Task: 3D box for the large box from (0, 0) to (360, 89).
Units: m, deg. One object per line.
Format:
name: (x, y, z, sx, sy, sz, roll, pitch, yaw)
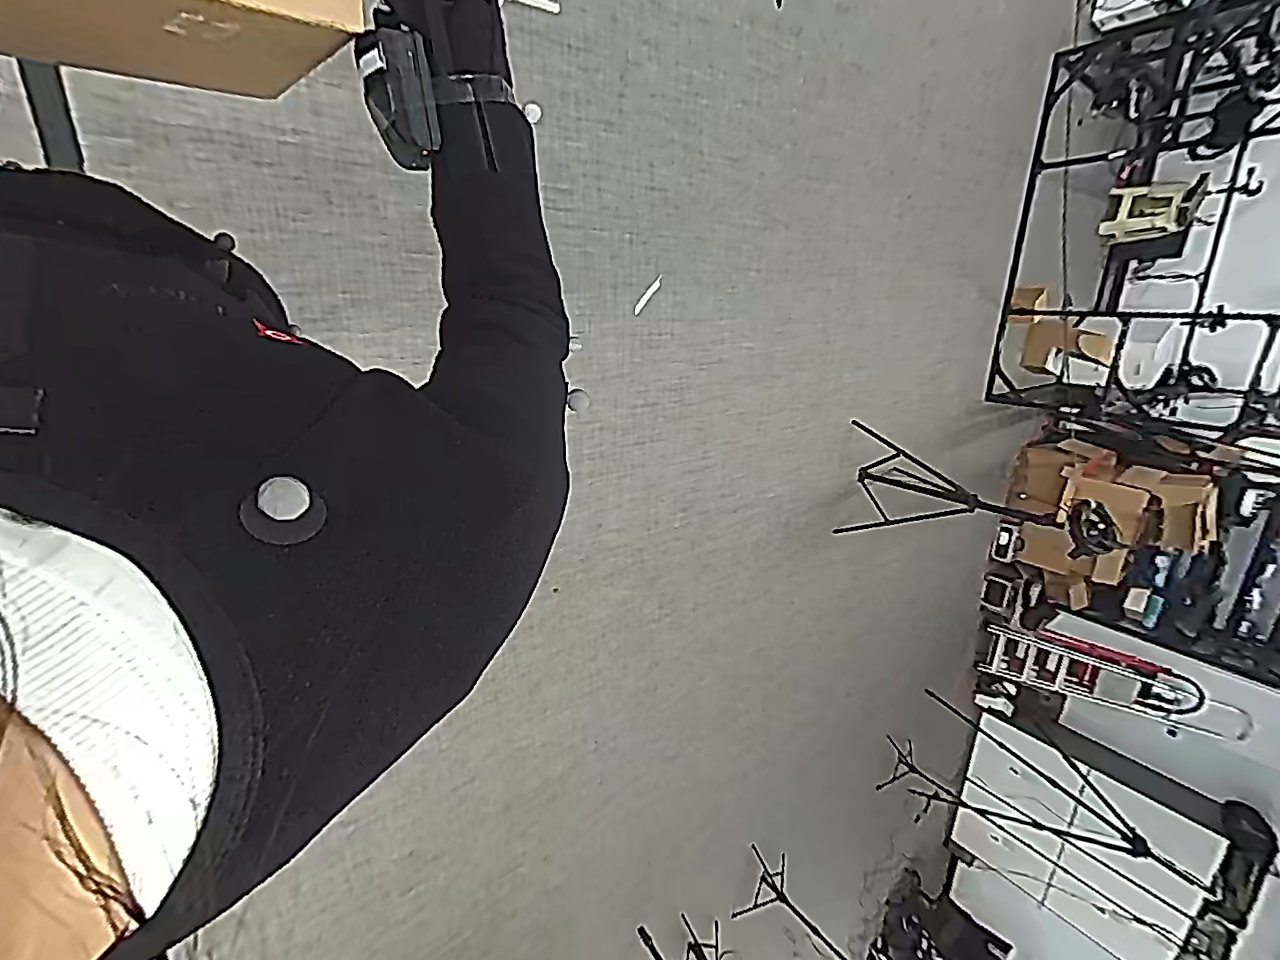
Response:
large box: (-0.401, -0.404, 0.230, 0.408, 0.320, 0.320, -17, 123, -37)
